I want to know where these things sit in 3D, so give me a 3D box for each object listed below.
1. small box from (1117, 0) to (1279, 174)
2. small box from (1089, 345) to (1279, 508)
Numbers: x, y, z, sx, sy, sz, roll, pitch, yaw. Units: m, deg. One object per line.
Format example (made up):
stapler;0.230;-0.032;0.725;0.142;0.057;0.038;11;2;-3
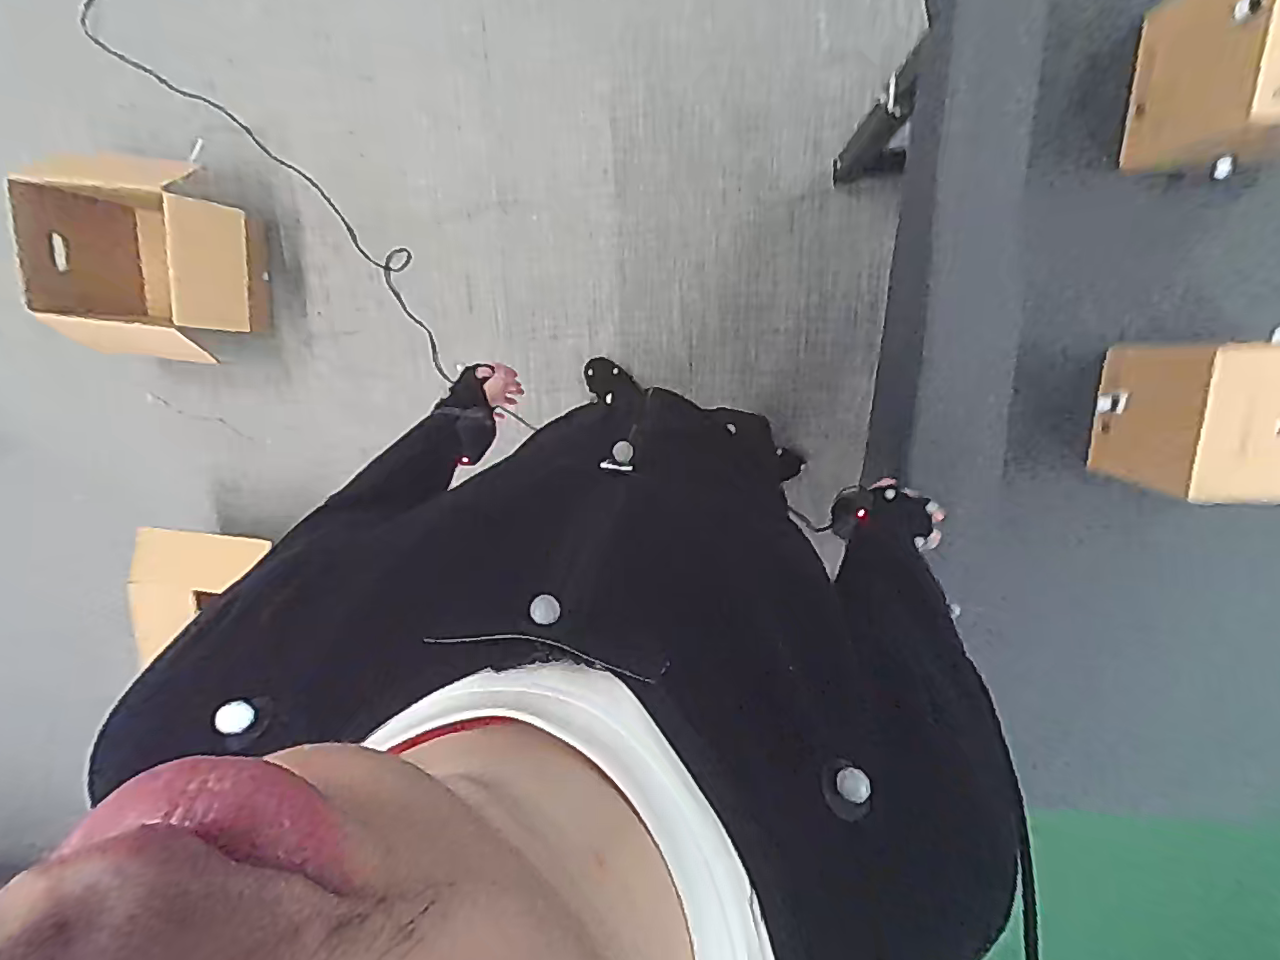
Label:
small box;0.659;-0.430;0.556;0.179;0.176;0.168;1;104;6
small box;0.684;-0.069;0.630;0.179;0.176;0.168;-1;104;8
